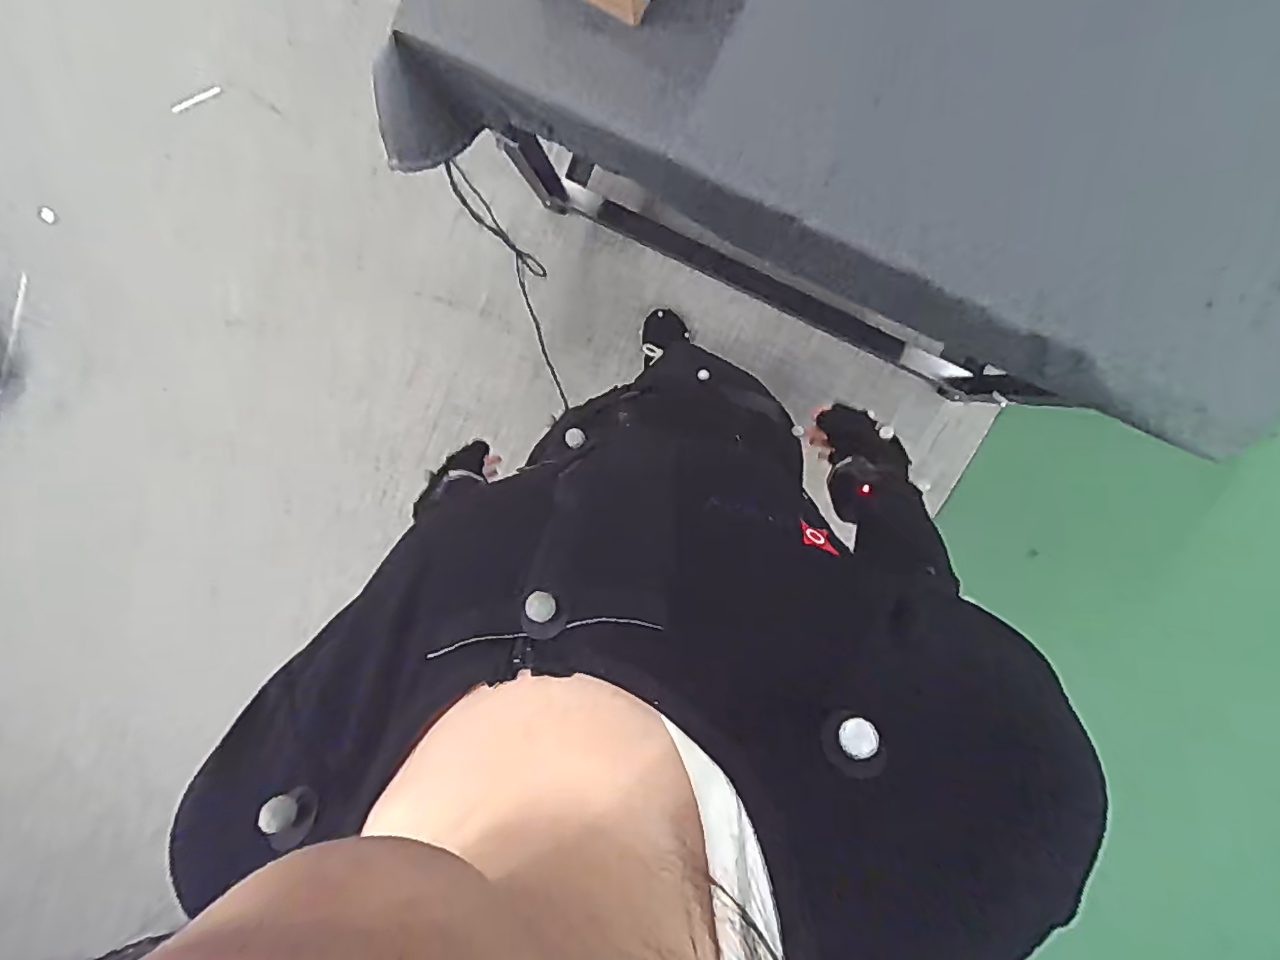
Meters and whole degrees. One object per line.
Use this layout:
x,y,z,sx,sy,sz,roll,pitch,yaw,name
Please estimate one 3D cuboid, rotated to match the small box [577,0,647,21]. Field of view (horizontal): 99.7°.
-0.045,-0.637,0.559,0.179,0.176,0.168,28,100,-2,small box
